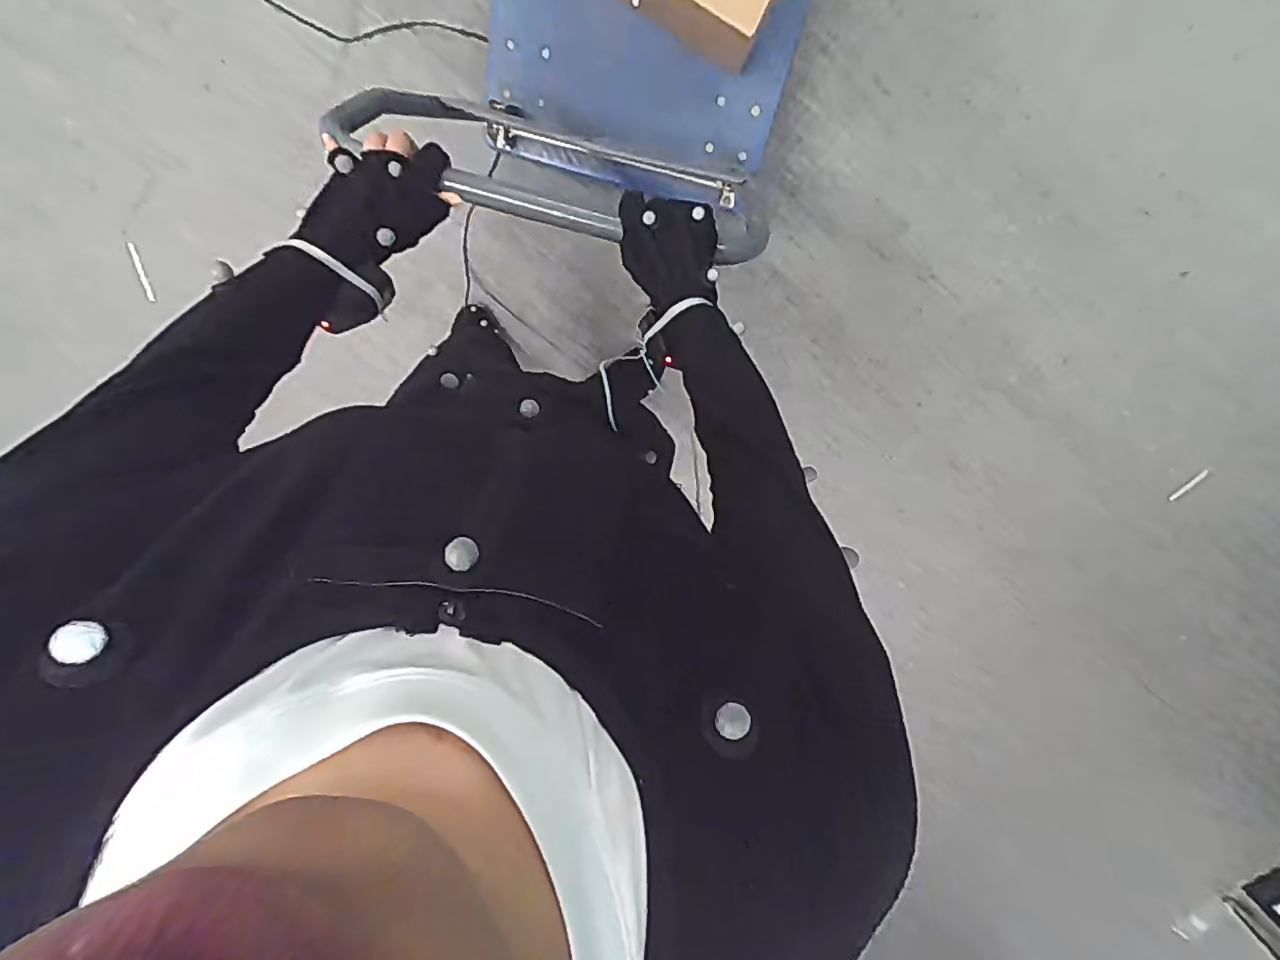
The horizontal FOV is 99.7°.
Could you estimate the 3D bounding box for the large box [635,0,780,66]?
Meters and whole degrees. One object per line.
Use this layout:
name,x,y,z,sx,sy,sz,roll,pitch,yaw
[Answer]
large box,0.074,-0.908,0.802,0.408,0.320,0.320,28,118,-9
